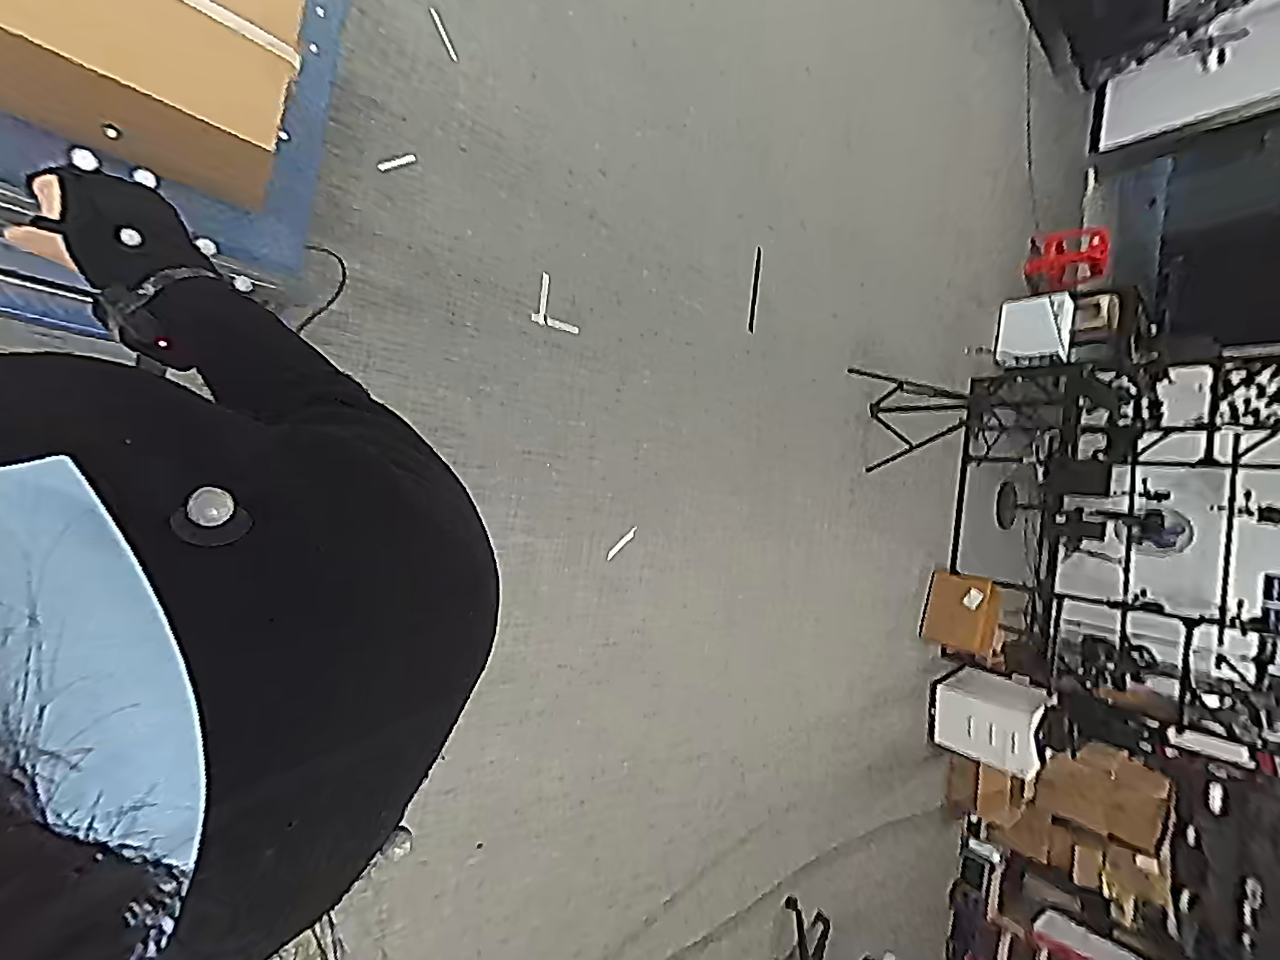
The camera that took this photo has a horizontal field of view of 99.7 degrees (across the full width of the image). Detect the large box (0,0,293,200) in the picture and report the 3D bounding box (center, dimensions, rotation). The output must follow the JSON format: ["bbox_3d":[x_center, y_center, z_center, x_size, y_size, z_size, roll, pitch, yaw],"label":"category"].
[{"bbox_3d":[-0.812,-0.720,0.854,0.408,0.320,0.320,11,86,-39],"label":"large box"}]
